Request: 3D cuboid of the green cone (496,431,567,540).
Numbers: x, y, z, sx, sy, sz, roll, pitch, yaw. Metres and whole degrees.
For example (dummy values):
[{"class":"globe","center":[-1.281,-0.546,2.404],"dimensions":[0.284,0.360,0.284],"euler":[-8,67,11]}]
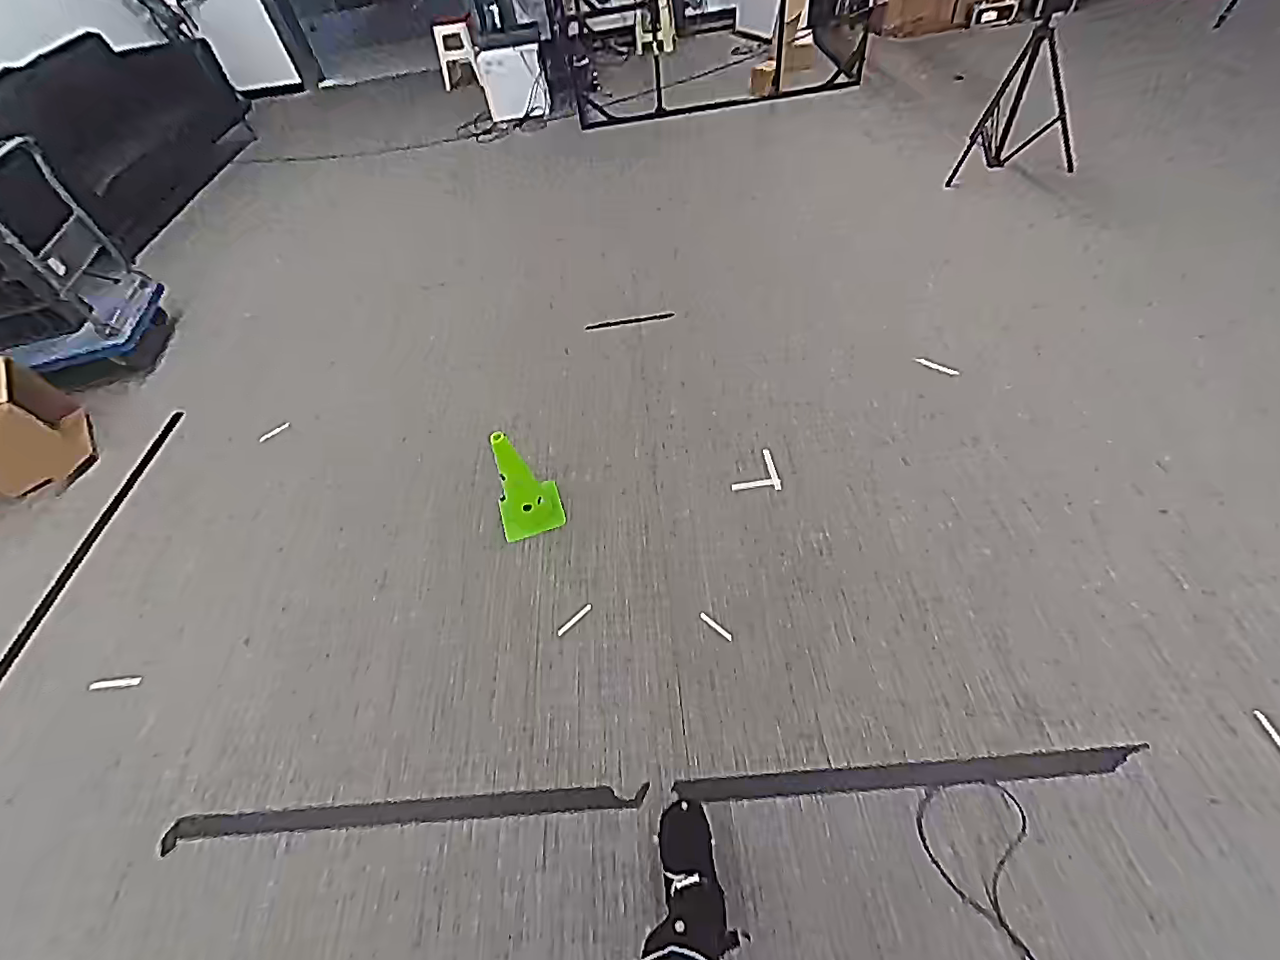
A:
[{"class":"green cone","center":[-0.373,-0.007,1.656],"dimensions":[0.202,0.368,0.200],"euler":[-18,51,-8]}]
